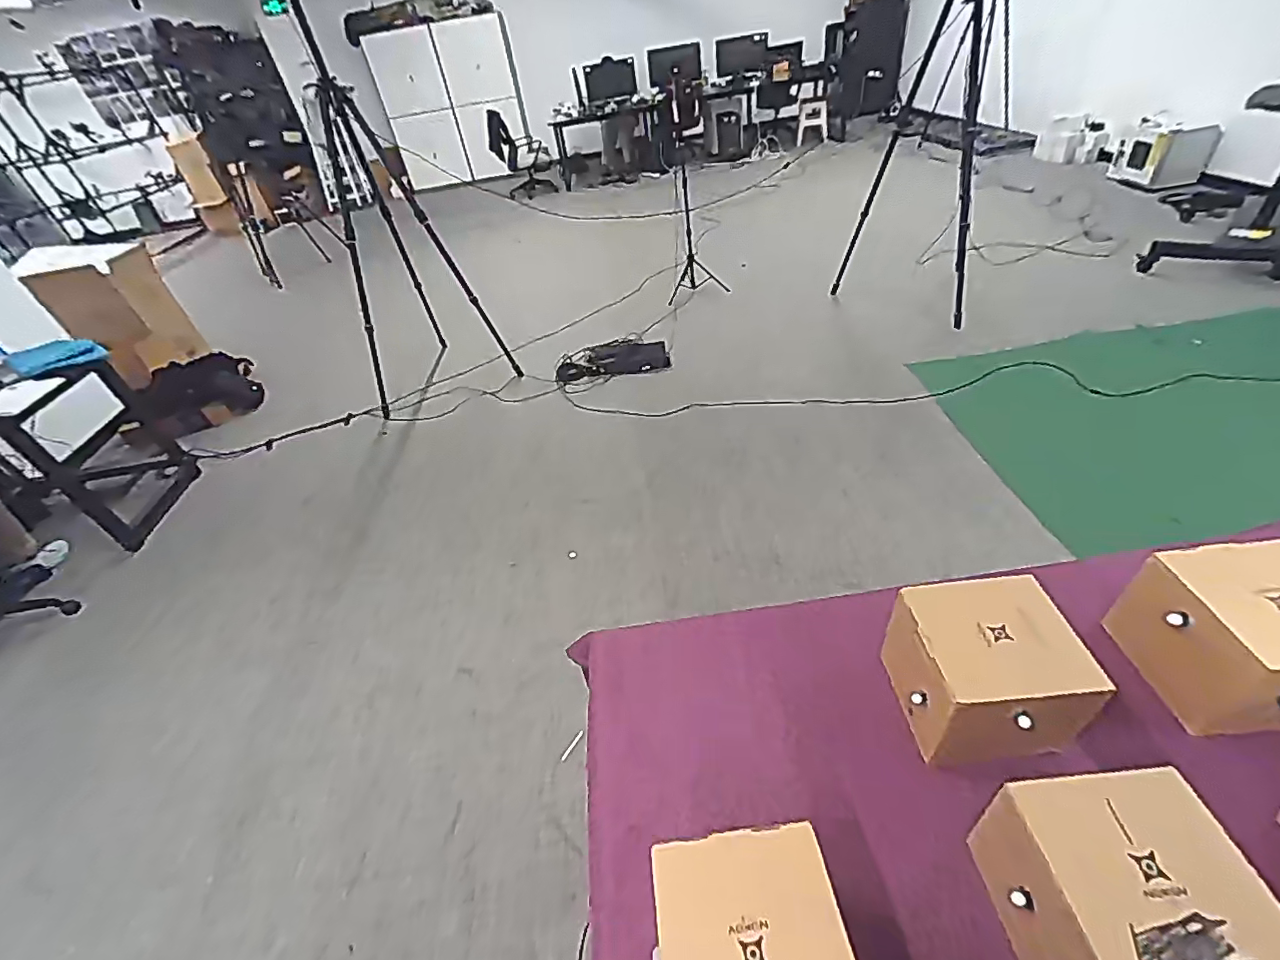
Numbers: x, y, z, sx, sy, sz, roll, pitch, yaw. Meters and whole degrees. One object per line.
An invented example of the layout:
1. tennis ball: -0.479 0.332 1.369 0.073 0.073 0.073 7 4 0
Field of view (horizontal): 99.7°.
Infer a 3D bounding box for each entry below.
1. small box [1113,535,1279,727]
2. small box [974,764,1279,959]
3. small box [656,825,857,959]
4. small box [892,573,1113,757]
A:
1. small box: 0.773 0.197 0.692 0.168 0.176 0.179 -8 39 5
2. small box: 0.460 0.405 0.520 0.168 0.176 0.179 -8 39 4
3. small box: 0.113 0.471 0.515 0.168 0.176 0.179 -10 34 1
4. small box: 0.450 0.247 0.713 0.179 0.176 0.168 -7 41 5
